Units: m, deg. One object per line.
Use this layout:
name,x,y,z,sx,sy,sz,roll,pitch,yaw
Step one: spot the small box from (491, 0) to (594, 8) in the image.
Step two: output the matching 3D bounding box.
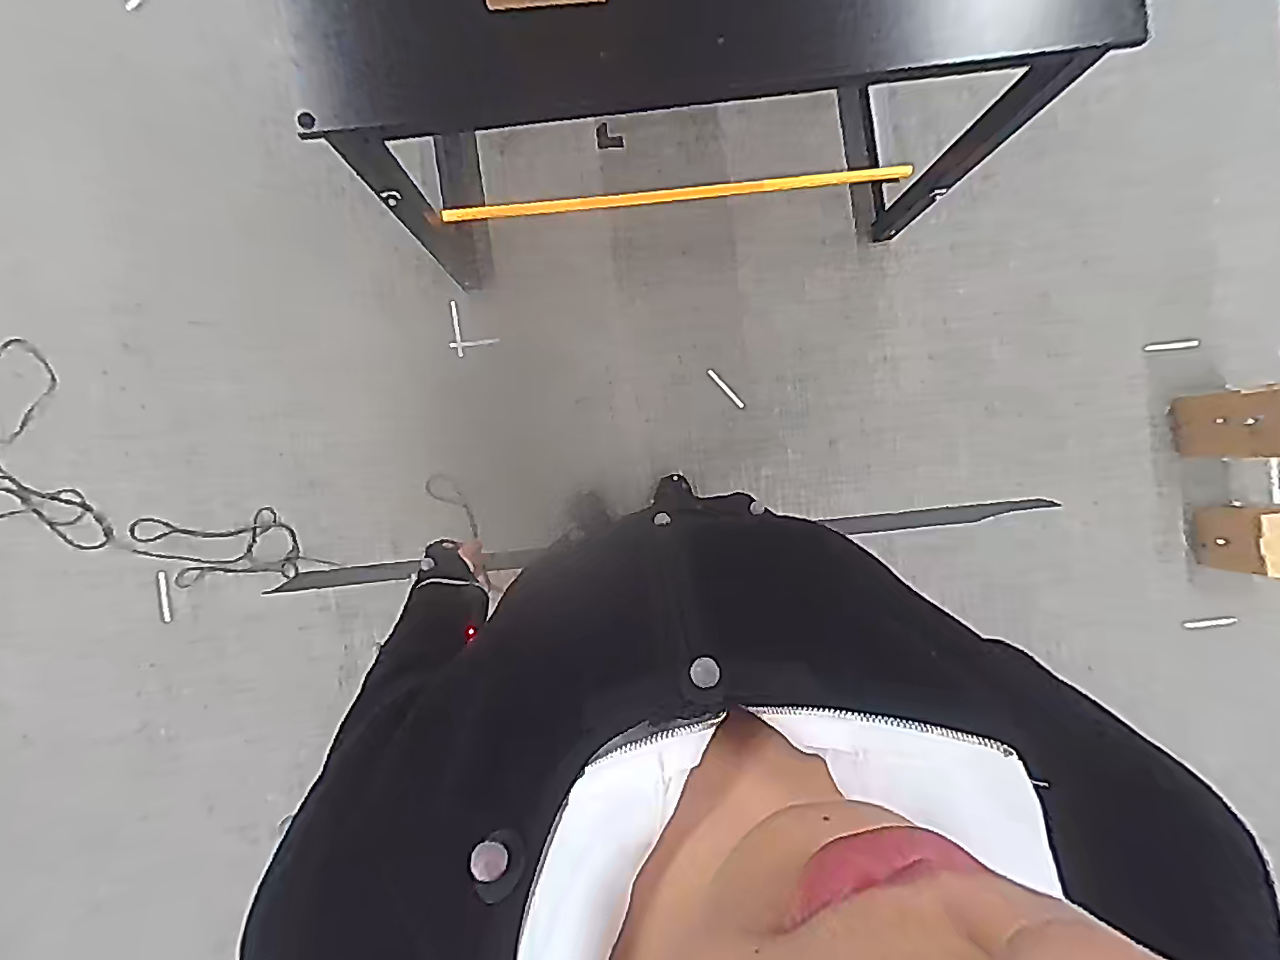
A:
small box,-0.138,-0.742,0.667,0.168,0.176,0.179,-5,91,-1

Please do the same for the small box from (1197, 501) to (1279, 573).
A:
small box,1.668,0.150,1.462,0.179,0.176,0.168,-7,92,0

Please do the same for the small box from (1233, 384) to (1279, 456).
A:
small box,1.596,-0.154,1.287,0.179,0.176,0.168,-11,90,0

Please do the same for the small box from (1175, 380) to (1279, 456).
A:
small box,1.595,-0.162,1.449,0.168,0.176,0.179,-8,92,-1
